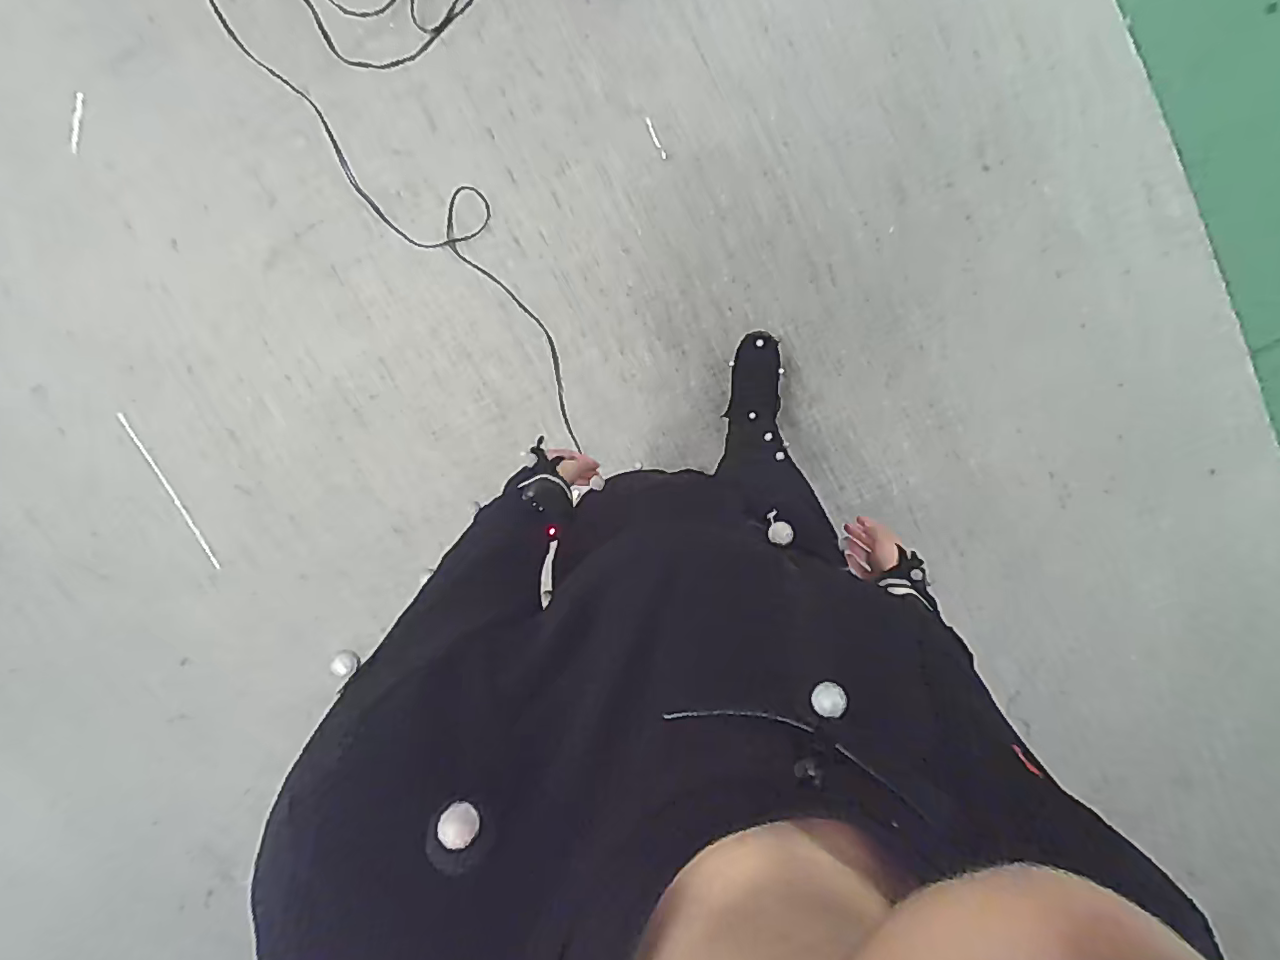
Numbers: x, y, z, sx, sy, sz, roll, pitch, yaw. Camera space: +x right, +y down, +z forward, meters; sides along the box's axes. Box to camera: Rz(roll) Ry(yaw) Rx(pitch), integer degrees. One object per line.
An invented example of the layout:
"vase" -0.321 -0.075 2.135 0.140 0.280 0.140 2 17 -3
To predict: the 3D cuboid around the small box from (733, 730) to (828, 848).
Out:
"small box" 0.344 0.773 1.367 0.179 0.176 0.168 -24 96 6
